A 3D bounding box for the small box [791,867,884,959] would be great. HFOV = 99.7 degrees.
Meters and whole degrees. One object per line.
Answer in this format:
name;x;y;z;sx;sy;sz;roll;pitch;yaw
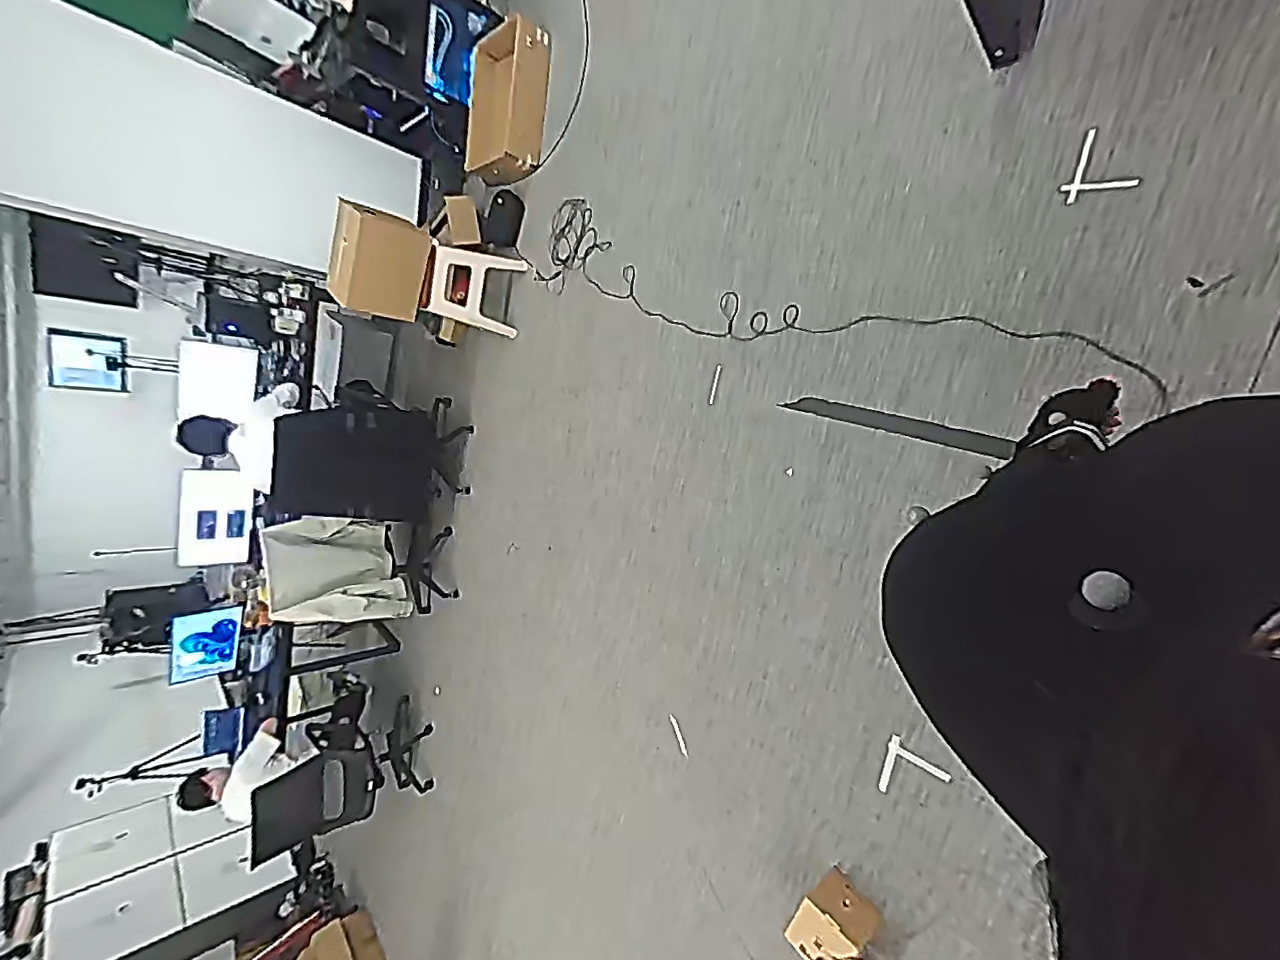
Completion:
small box;0.568;1.262;1.540;0.168;0.176;0.179;34;113;40
